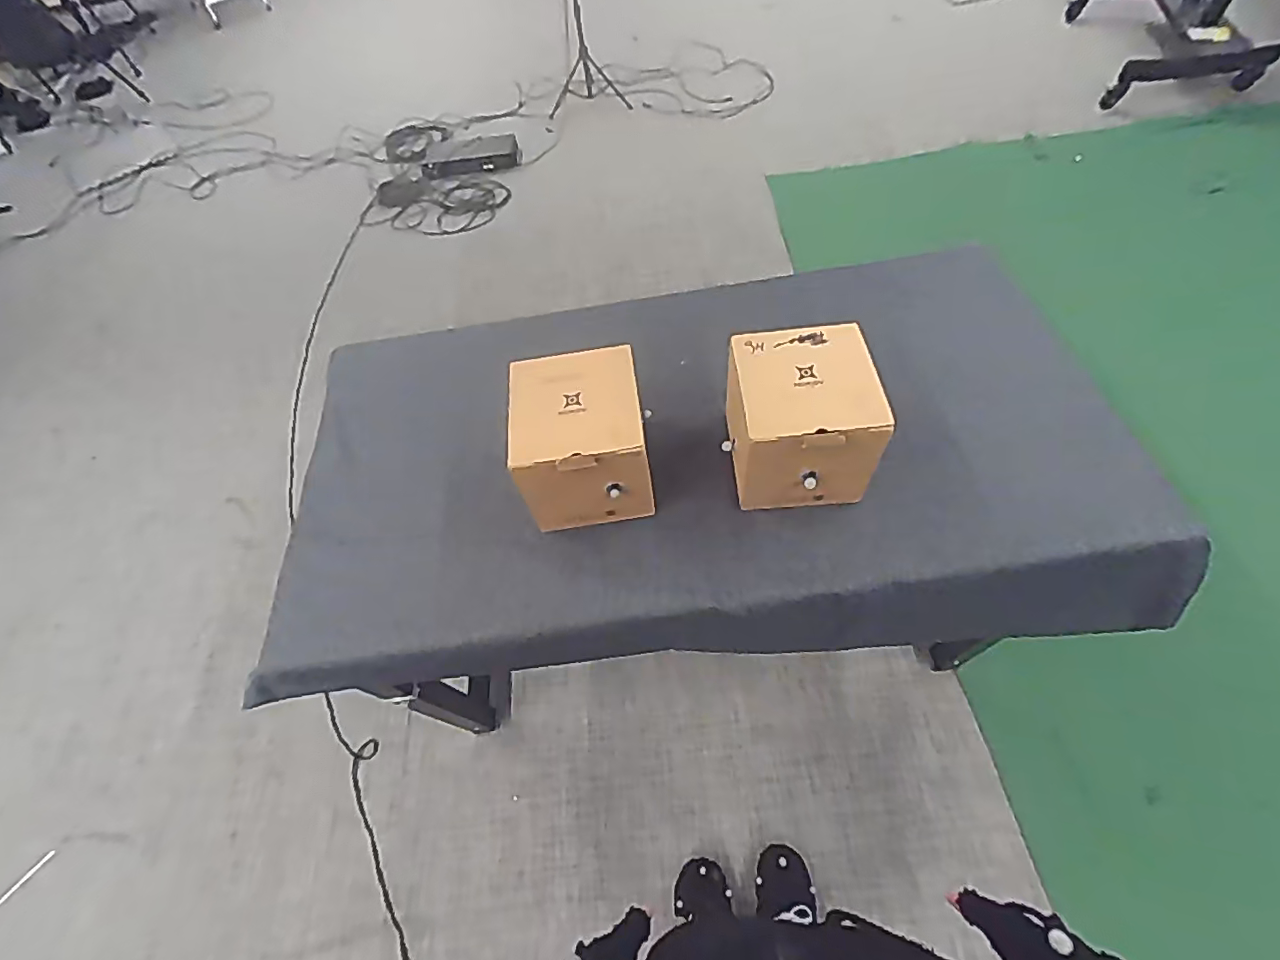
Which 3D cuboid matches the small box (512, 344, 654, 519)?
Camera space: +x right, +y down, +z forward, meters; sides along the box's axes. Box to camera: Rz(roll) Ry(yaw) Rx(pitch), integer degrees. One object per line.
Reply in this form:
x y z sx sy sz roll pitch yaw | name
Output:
-0.075 -0.058 0.754 0.168 0.176 0.179 -9 56 0 | small box

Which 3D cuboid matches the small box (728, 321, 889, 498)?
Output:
0.212 -0.086 0.735 0.168 0.176 0.179 -5 58 3 | small box
